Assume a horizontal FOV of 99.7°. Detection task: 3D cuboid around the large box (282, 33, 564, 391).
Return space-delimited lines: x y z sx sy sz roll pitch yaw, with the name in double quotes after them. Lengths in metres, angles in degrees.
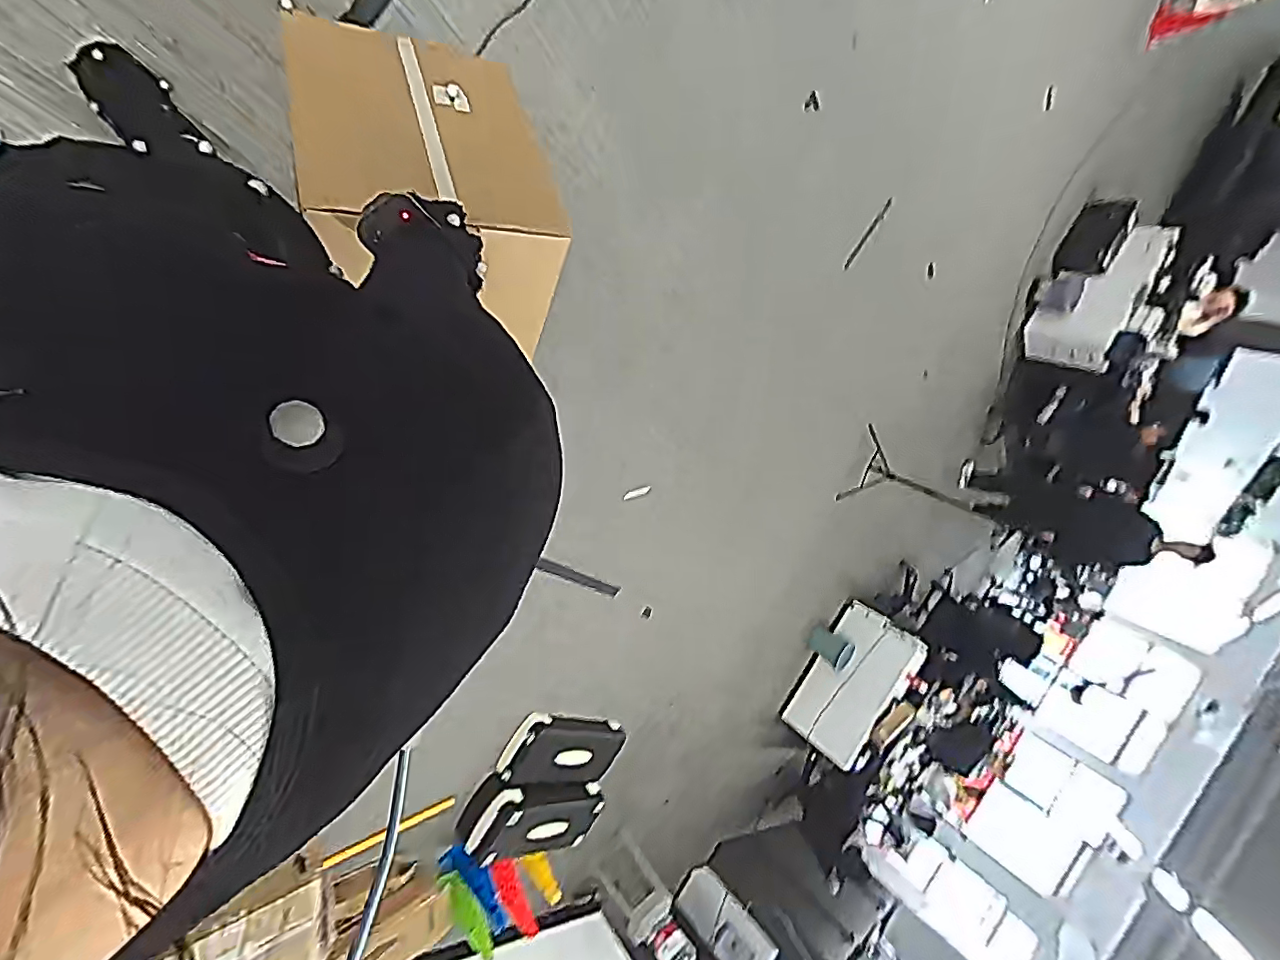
-0.355 -0.394 0.863 0.320 0.408 0.320 -6 152 -30 "large box"
